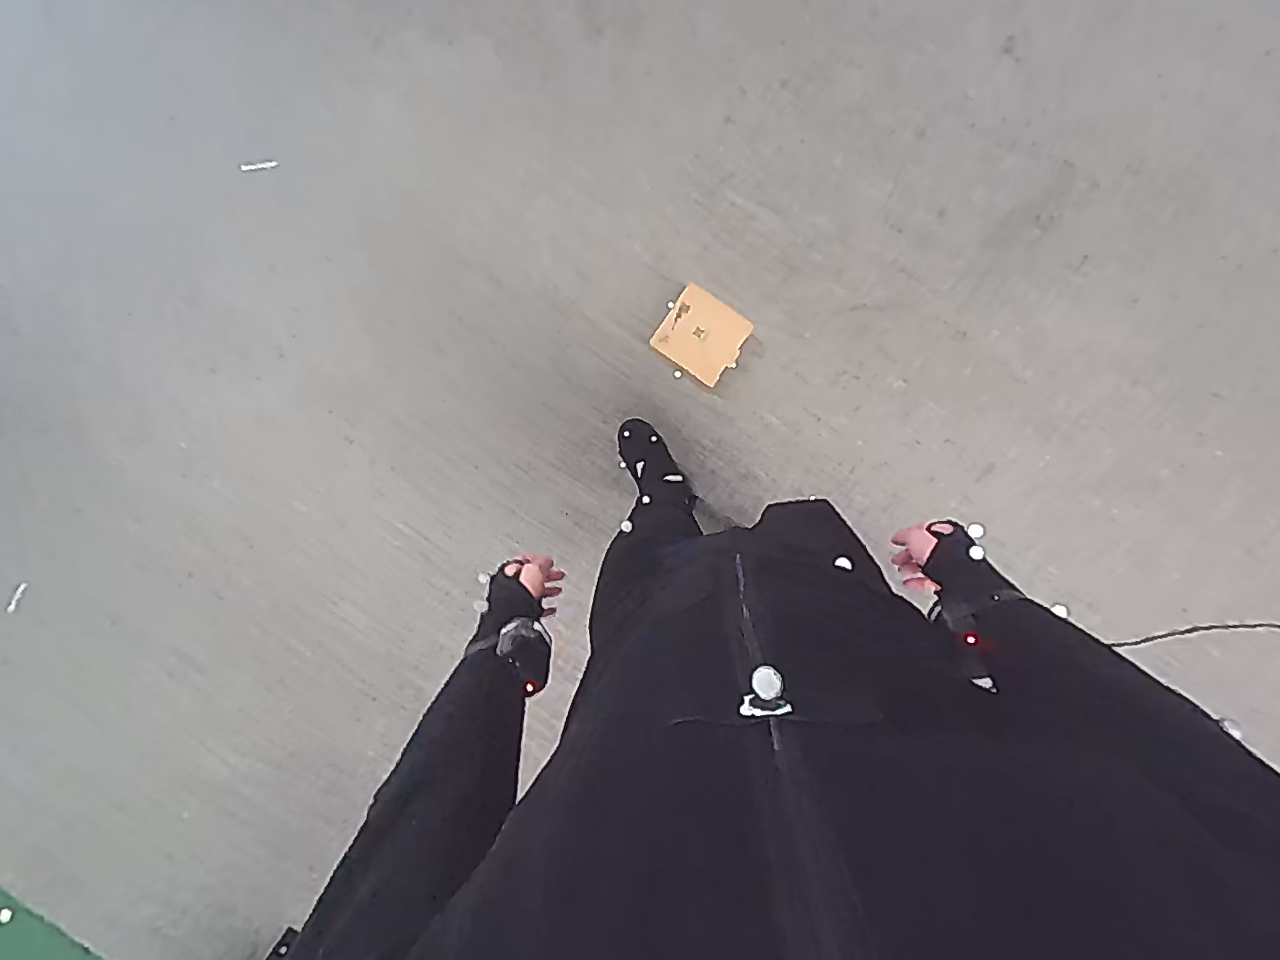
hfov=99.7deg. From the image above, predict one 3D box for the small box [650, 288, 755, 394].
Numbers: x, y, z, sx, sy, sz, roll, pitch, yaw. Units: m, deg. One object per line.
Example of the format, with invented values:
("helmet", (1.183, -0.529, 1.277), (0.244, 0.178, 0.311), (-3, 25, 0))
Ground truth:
("small box", (0.143, -0.316, 1.271), (0.179, 0.176, 0.168), (36, 97, -1))
